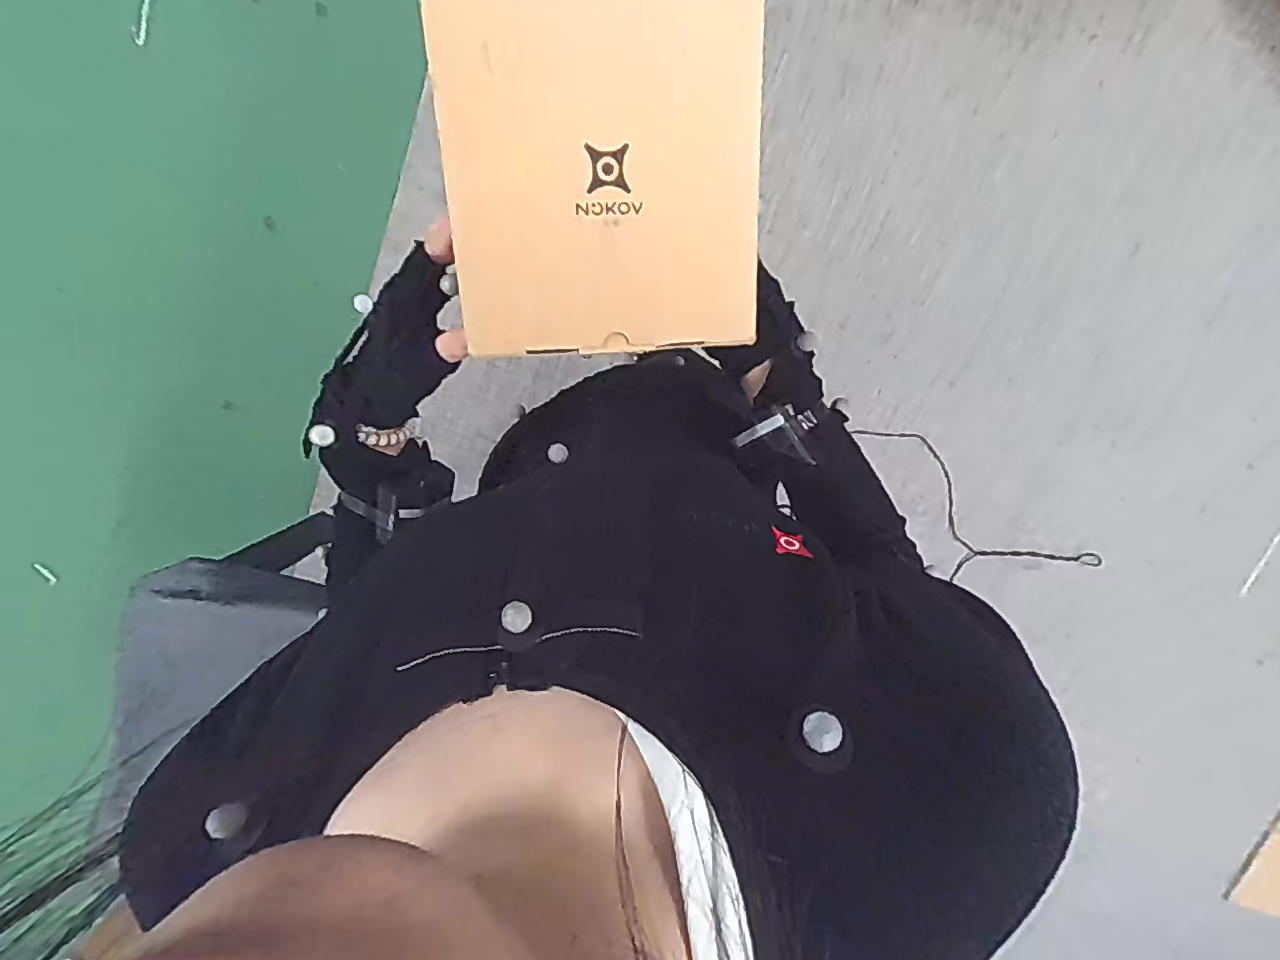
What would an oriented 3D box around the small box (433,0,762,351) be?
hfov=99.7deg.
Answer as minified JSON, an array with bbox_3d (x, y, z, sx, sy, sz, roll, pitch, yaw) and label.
[{"bbox_3d":[-0.028,-0.186,0.363,0.168,0.176,0.179,-5,110,-7],"label":"small box"}]
